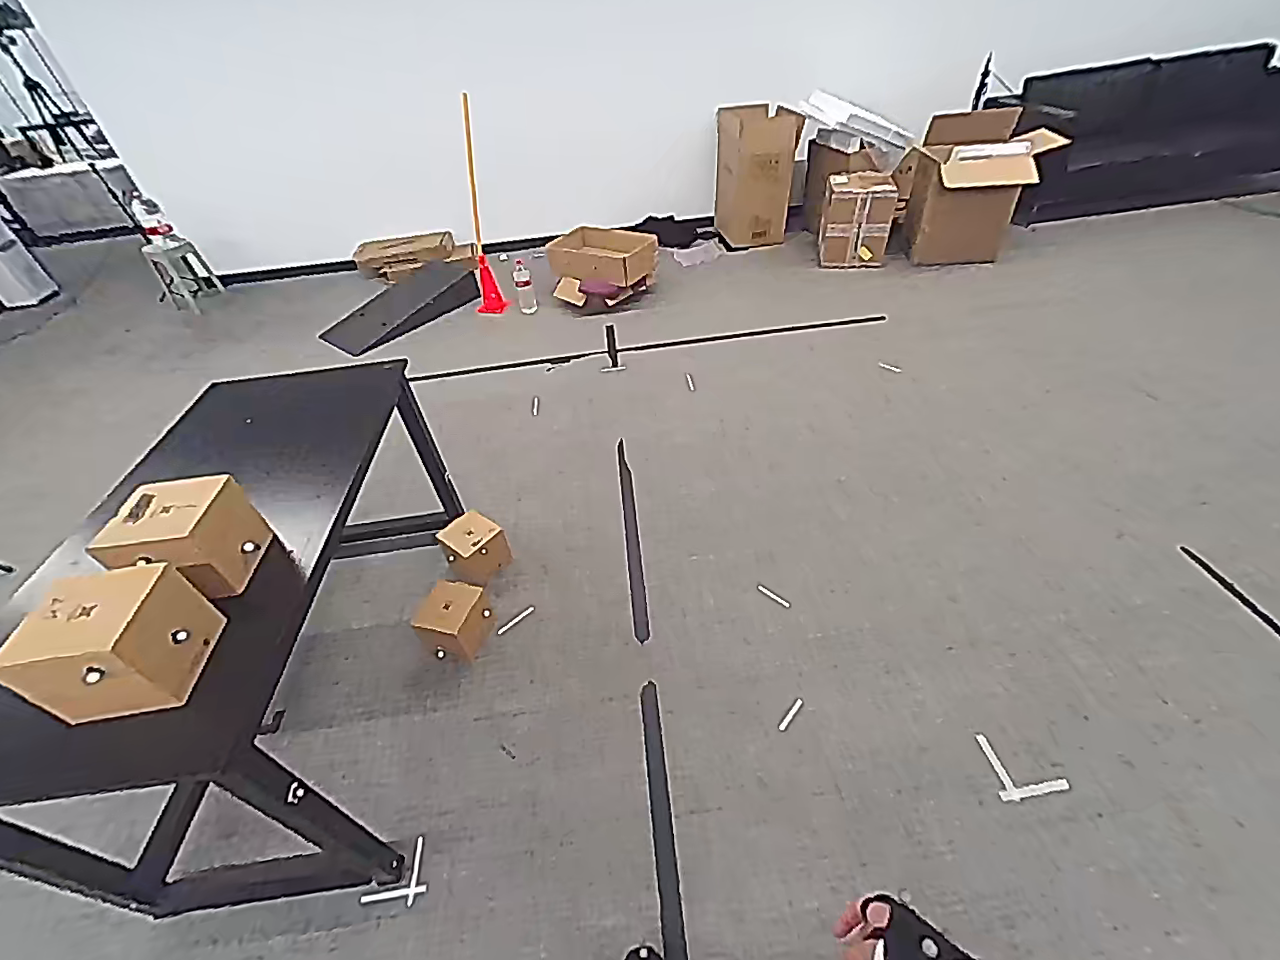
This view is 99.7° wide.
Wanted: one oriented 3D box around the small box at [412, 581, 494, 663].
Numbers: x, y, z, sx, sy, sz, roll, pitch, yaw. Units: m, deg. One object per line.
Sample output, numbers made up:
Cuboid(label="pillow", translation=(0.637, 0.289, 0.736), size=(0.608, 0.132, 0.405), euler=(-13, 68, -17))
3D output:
Cuboid(label="small box", translation=(-0.584, 0.452, 1.726), size=(0.168, 0.176, 0.179), euler=(6, 44, 15))

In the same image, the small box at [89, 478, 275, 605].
Cuboid(label="small box", translation=(-0.855, 0.121, 1.033), size=(0.179, 0.176, 0.168), euler=(-7, 42, -2))

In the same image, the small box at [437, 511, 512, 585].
Cuboid(label="small box", translation=(-0.592, 0.247, 1.949), size=(0.179, 0.176, 0.168), euler=(25, 51, 30))
